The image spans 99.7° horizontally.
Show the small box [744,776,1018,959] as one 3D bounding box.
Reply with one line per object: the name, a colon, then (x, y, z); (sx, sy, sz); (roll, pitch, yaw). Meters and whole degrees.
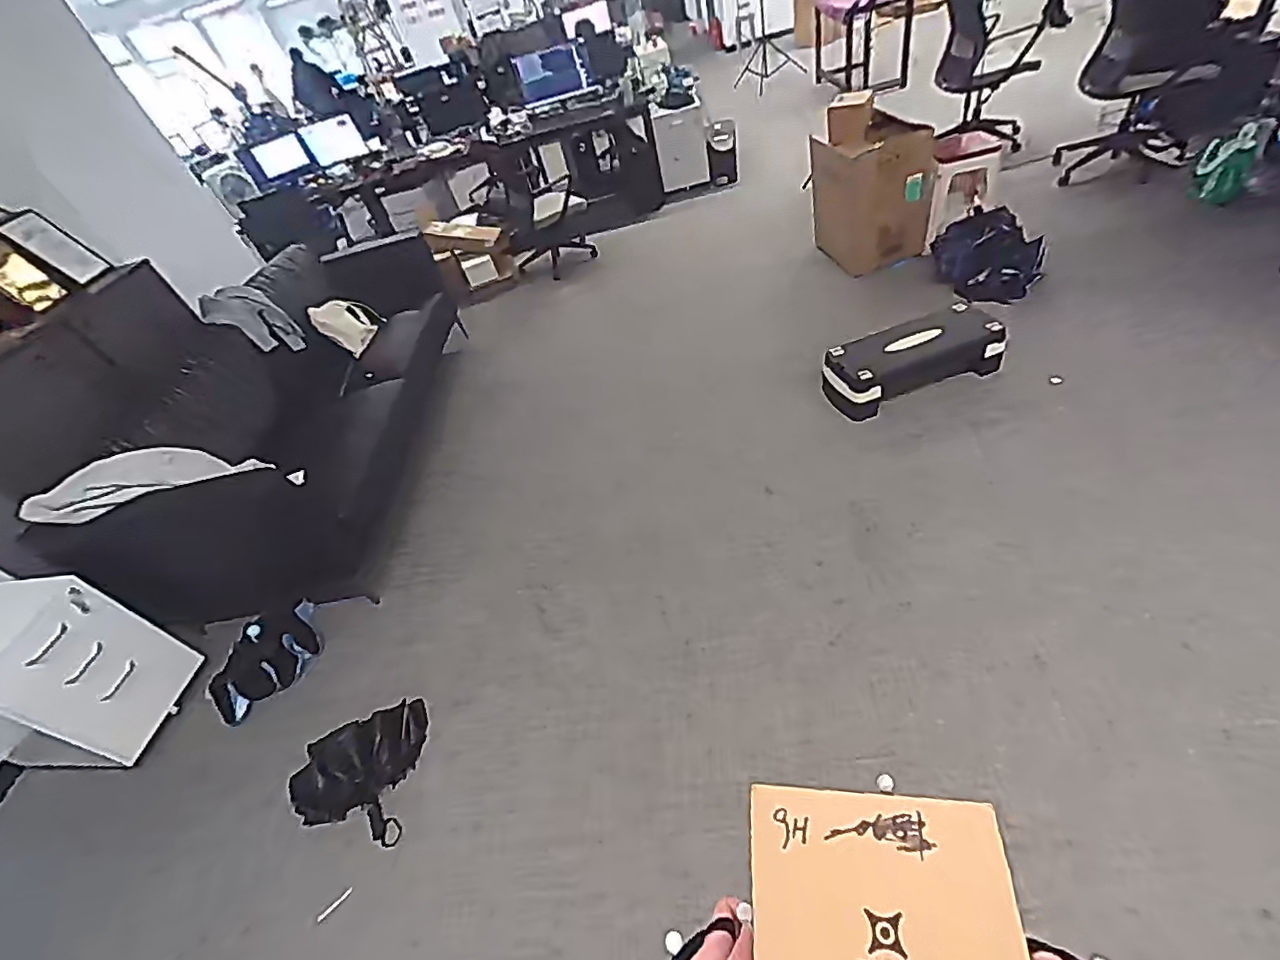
small box: (0.168, 0.337, 0.416); (0.168, 0.176, 0.179); (-2, 57, 11)
